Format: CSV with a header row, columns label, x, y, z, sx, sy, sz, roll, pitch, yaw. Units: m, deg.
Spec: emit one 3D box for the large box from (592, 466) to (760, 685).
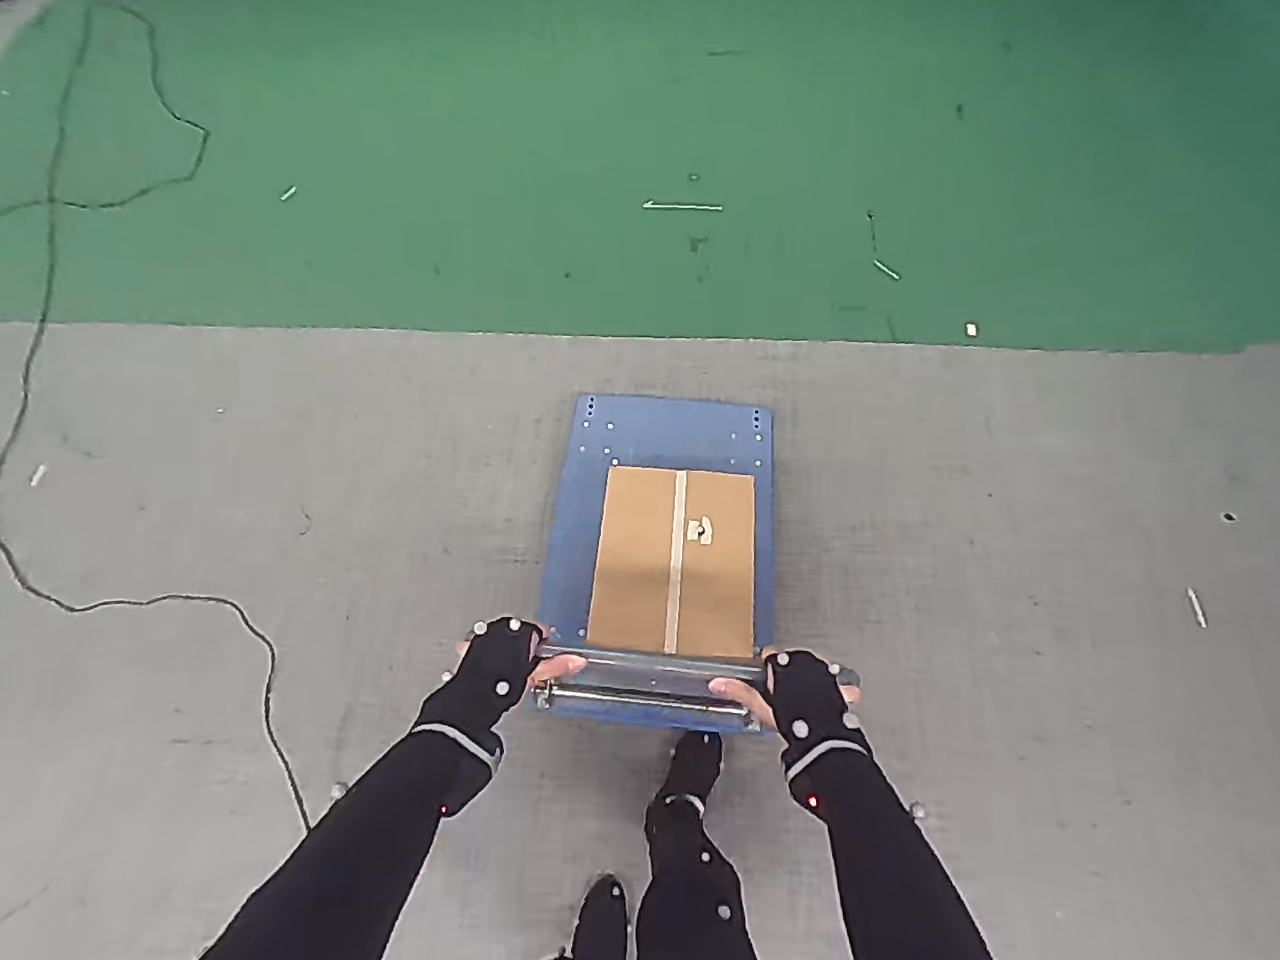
label,x,y,z,sx,sy,sz,roll,pitch,yaw
large box,0.082,0.223,1.201,0.320,0.320,0.408,5,64,2
